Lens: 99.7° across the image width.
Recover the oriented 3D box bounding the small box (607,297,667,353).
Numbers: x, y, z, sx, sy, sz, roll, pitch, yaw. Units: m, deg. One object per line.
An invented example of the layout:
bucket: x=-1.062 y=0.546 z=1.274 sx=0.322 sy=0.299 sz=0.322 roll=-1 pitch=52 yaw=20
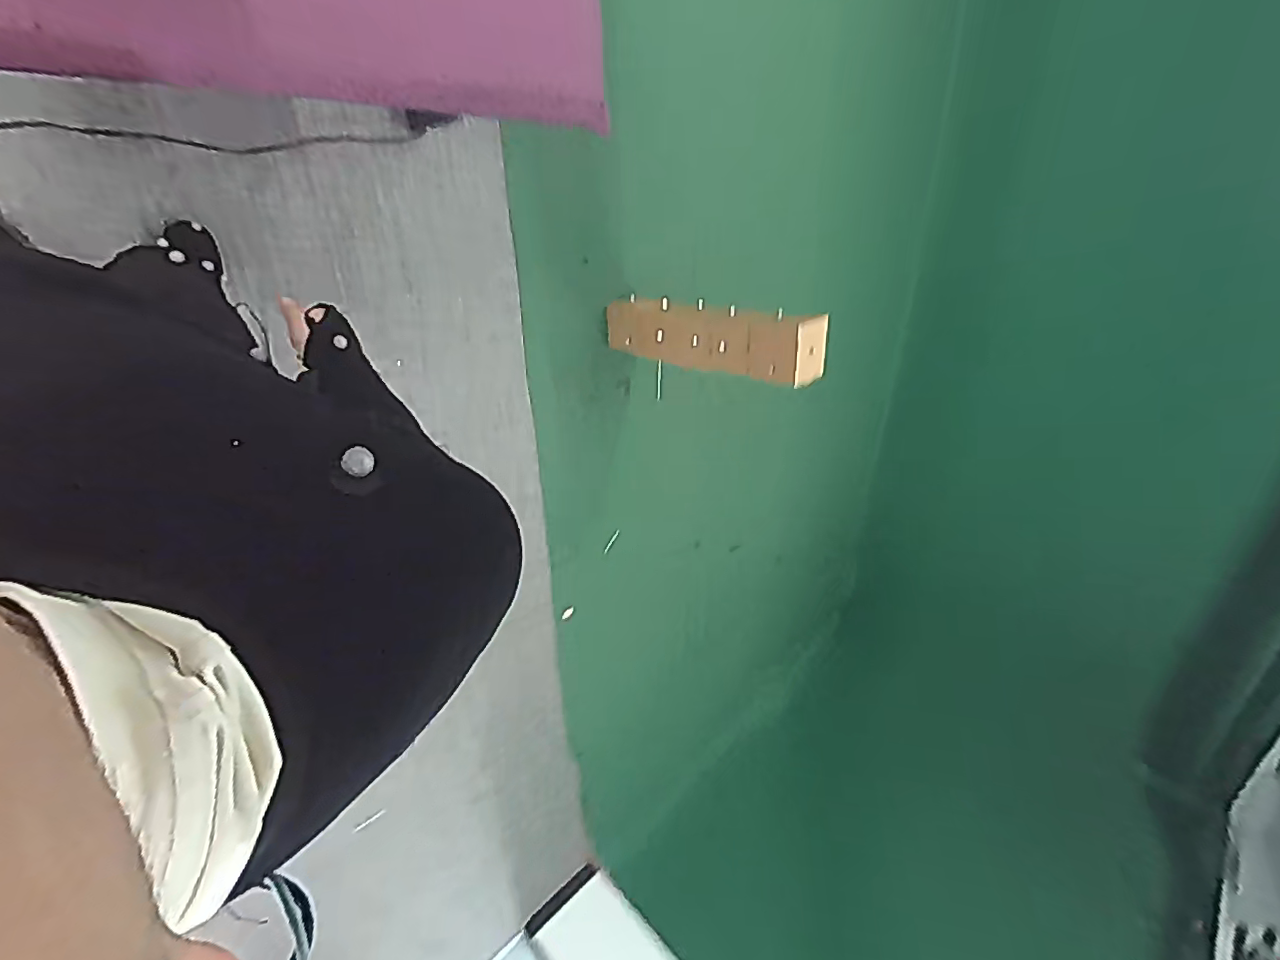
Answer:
small box: x=-0.010 y=-0.595 z=2.061 sx=0.168 sy=0.176 sz=0.179 roll=-23 pitch=123 yaw=-38

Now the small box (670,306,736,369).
small box: x=0.216 y=-0.494 z=1.849 sx=0.168 sy=0.176 sz=0.179 roll=-27 pitch=126 yaw=-35

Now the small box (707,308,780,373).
small box: x=0.328 y=-0.452 z=1.738 sx=0.179 sy=0.176 sz=0.168 roll=-25 pitch=124 yaw=-35

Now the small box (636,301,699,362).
small box: x=0.103 y=-0.541 z=1.958 sx=0.168 sy=0.176 sz=0.179 roll=-26 pitch=124 yaw=-36

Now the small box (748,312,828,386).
small box: x=0.442 y=-0.401 z=1.632 sx=0.168 sy=0.176 sz=0.179 roll=-26 pitch=124 yaw=-37
